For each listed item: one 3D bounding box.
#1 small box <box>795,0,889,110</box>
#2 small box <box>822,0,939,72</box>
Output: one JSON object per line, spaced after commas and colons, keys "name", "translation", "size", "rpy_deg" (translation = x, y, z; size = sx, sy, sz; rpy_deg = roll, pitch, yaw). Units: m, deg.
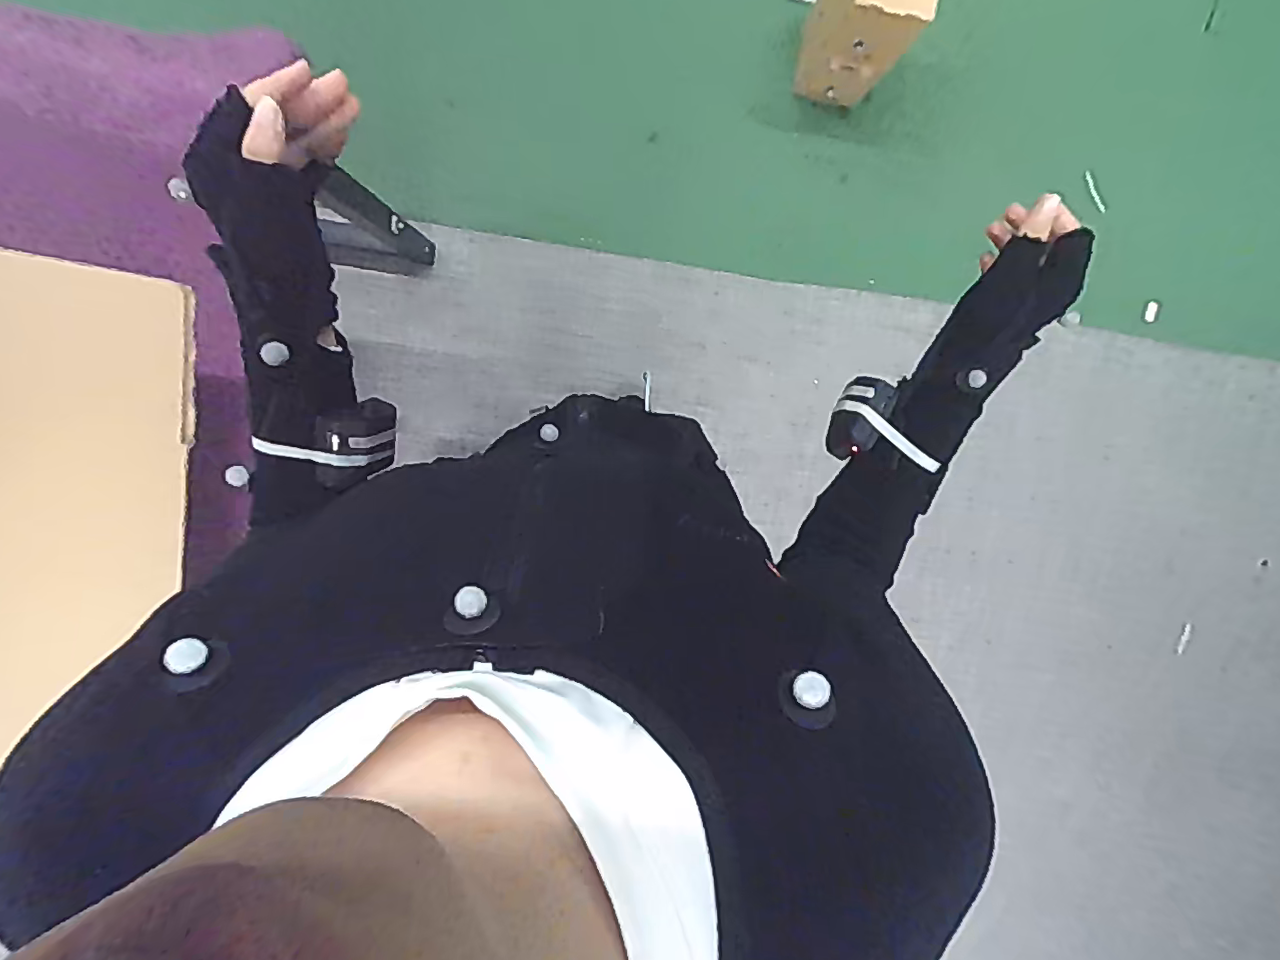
{"name": "small box", "translation": [0.479, -1.010, 1.256], "size": [0.168, 0.176, 0.179], "rpy_deg": [9, 99, -6]}
{"name": "small box", "translation": [0.491, -0.983, 1.096], "size": [0.168, 0.176, 0.179], "rpy_deg": [8, 100, -6]}
